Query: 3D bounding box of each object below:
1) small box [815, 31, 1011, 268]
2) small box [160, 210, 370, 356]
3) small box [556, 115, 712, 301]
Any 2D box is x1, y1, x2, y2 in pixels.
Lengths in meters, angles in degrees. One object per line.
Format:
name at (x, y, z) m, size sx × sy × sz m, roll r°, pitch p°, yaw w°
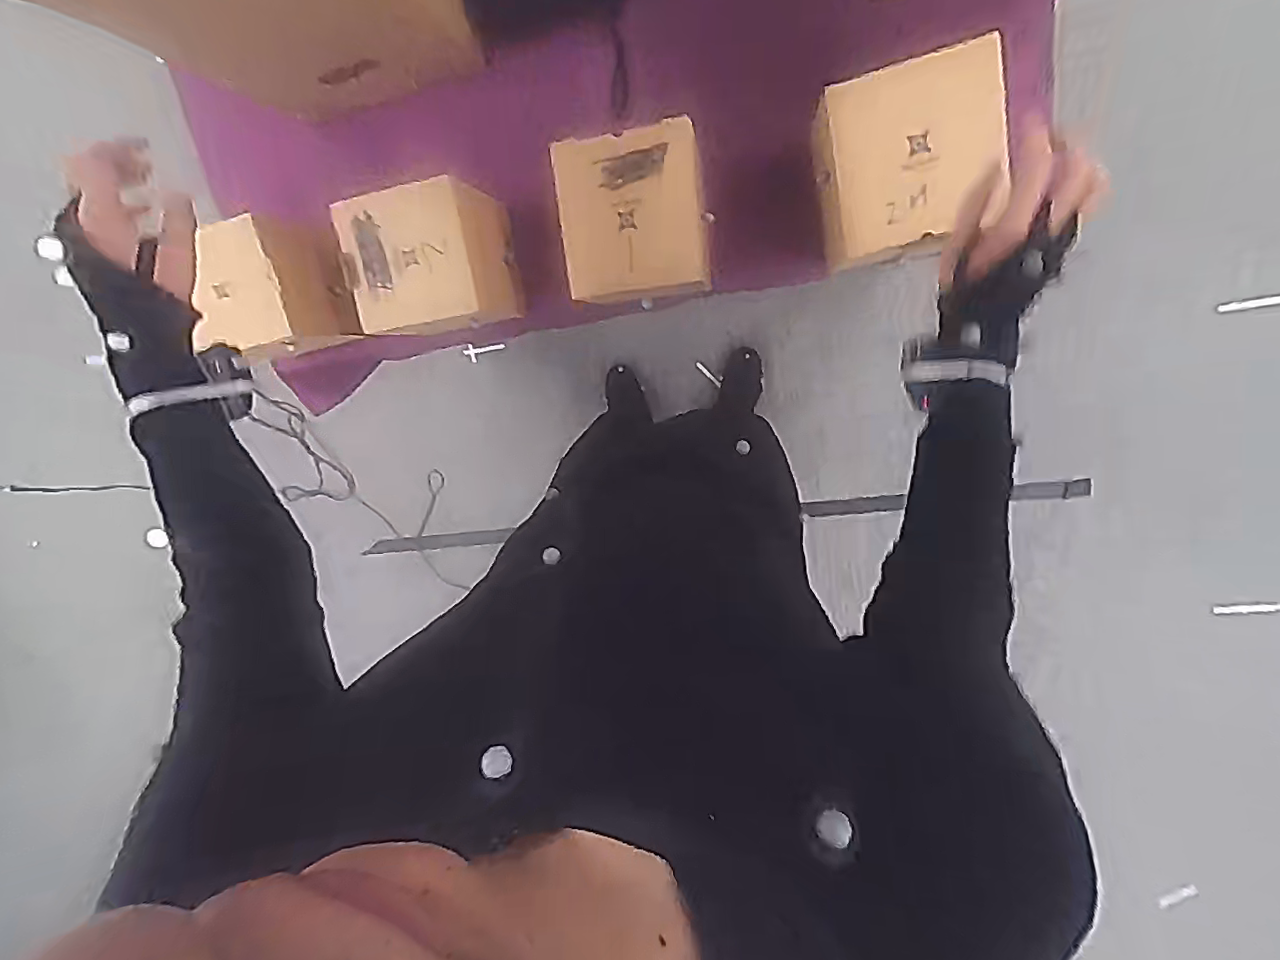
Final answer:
small box at (0.308, -0.365, 0.638) m, size 0.168 × 0.176 × 0.179 m, roll -9°, pitch 104°, yaw 15°
small box at (-0.562, -0.291, 0.833) m, size 0.179 × 0.176 × 0.168 m, roll -10°, pitch 103°, yaw 12°
small box at (0.003, -0.337, 0.708) m, size 0.168 × 0.176 × 0.179 m, roll -3°, pitch 105°, yaw 12°
